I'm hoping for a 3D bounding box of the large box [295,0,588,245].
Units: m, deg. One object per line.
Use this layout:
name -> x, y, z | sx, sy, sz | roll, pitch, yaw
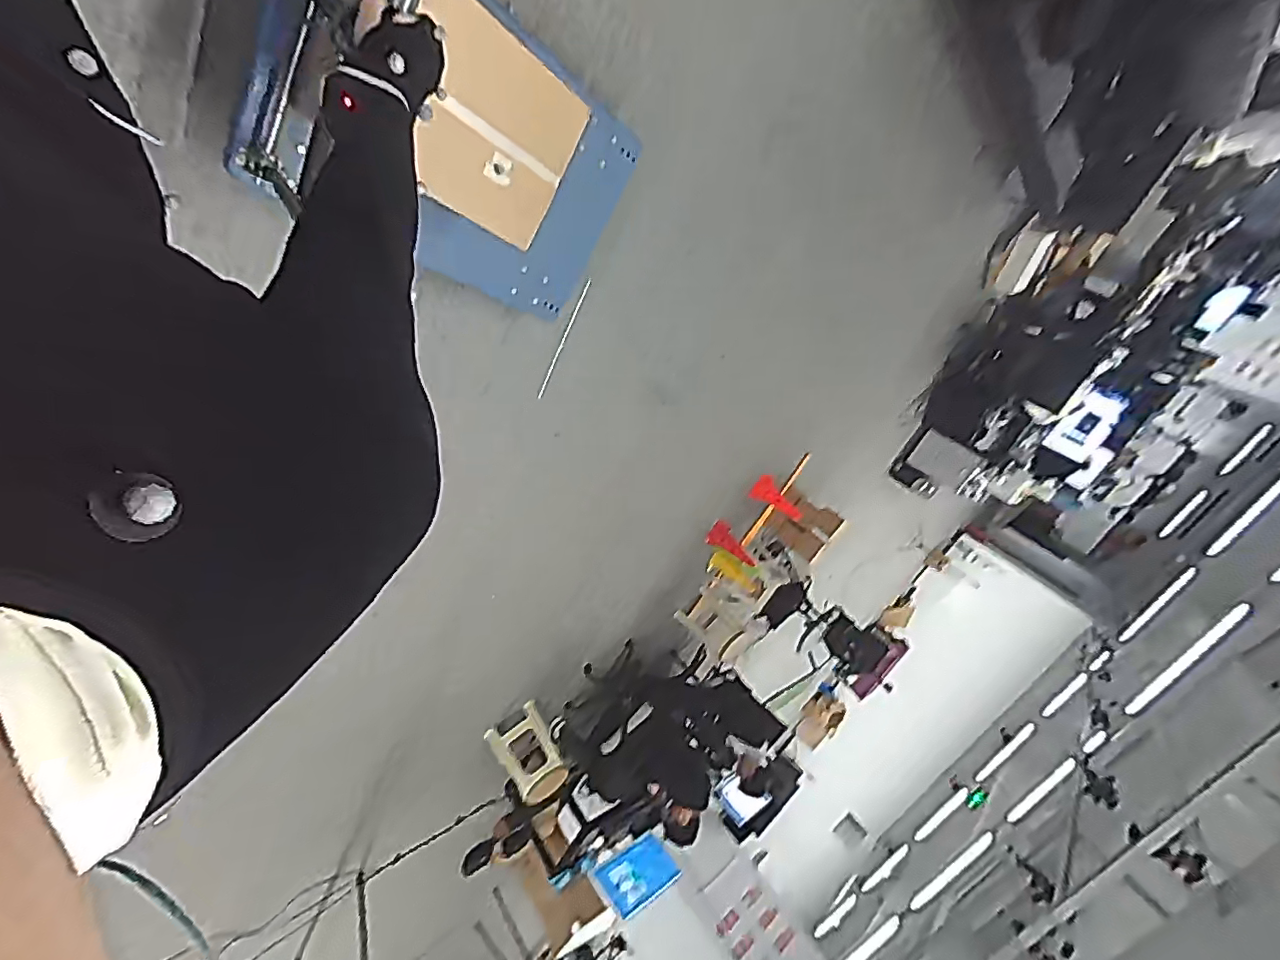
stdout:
large box -> -0.394, -0.746, 1.085 | 0.408, 0.320, 0.320 | 11, 116, -52
